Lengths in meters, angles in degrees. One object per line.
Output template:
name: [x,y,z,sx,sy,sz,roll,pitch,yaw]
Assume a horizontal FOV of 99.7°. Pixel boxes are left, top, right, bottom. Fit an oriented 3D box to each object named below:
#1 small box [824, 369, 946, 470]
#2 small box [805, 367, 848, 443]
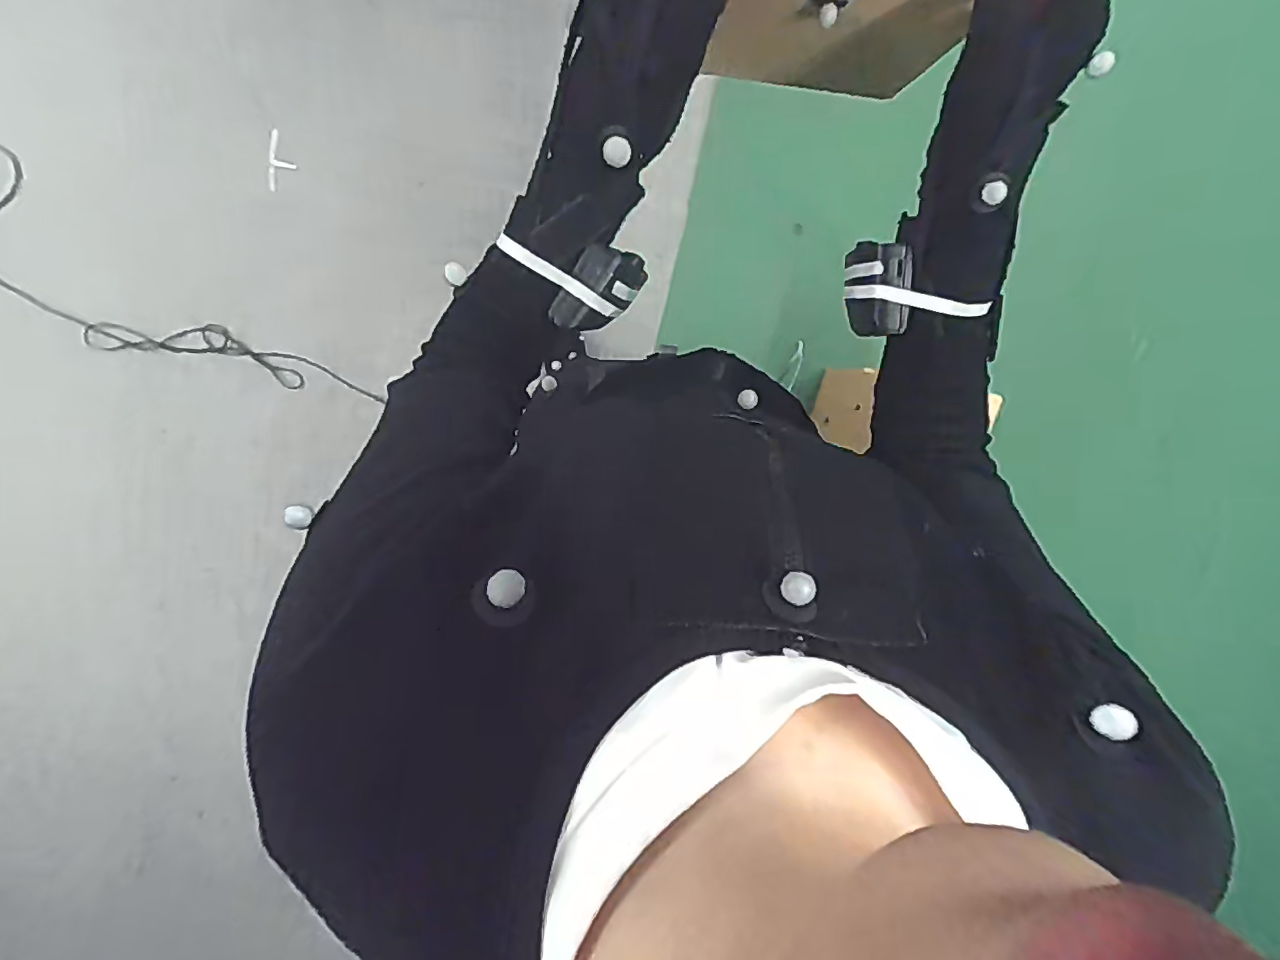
small box: [0.534,-0.142,1.211,0.168,0.176,0.179,15,103,-4]
small box: [0.538,-0.179,1.369,0.168,0.176,0.179,14,103,-5]
